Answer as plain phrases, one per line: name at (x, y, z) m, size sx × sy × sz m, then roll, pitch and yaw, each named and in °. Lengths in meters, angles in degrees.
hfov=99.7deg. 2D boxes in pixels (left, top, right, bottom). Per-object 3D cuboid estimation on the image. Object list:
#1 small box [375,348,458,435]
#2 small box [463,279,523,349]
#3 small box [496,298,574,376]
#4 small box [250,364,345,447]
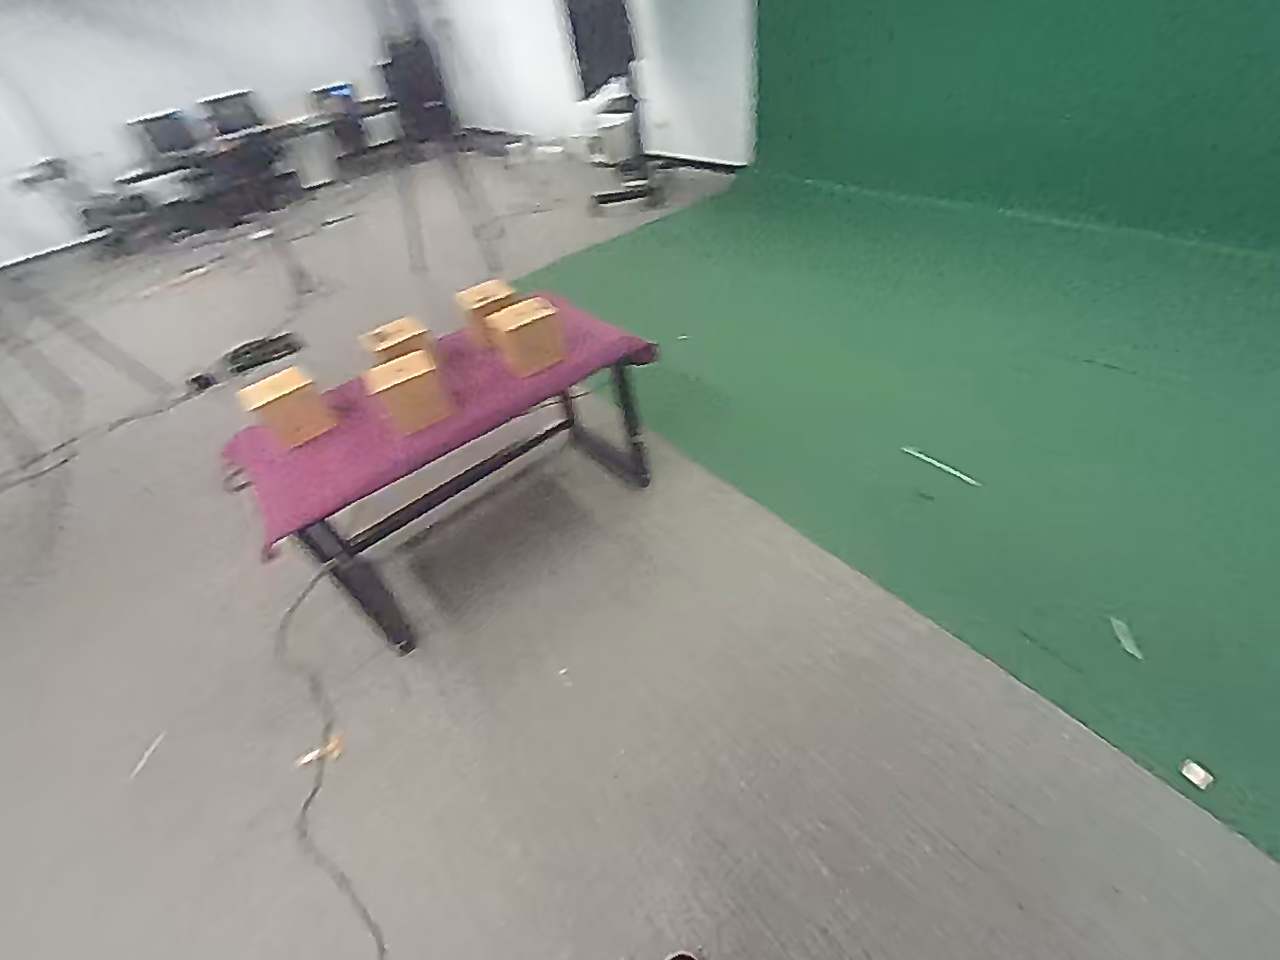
small box at (-0.673, -0.268, 1.645) m, size 0.179 × 0.176 × 0.168 m, roll -28°, pitch 44°, yaw -15°
small box at (-0.511, -0.596, 1.953) m, size 0.168 × 0.176 × 0.179 m, roll -29°, pitch 45°, yaw -17°
small box at (-0.343, -0.470, 1.780) m, size 0.179 × 0.176 × 0.168 m, roll -30°, pitch 45°, yaw -17°
small box at (-1.070, -0.232, 1.696) m, size 0.179 × 0.176 × 0.168 m, roll -36°, pitch 48°, yaw -25°
